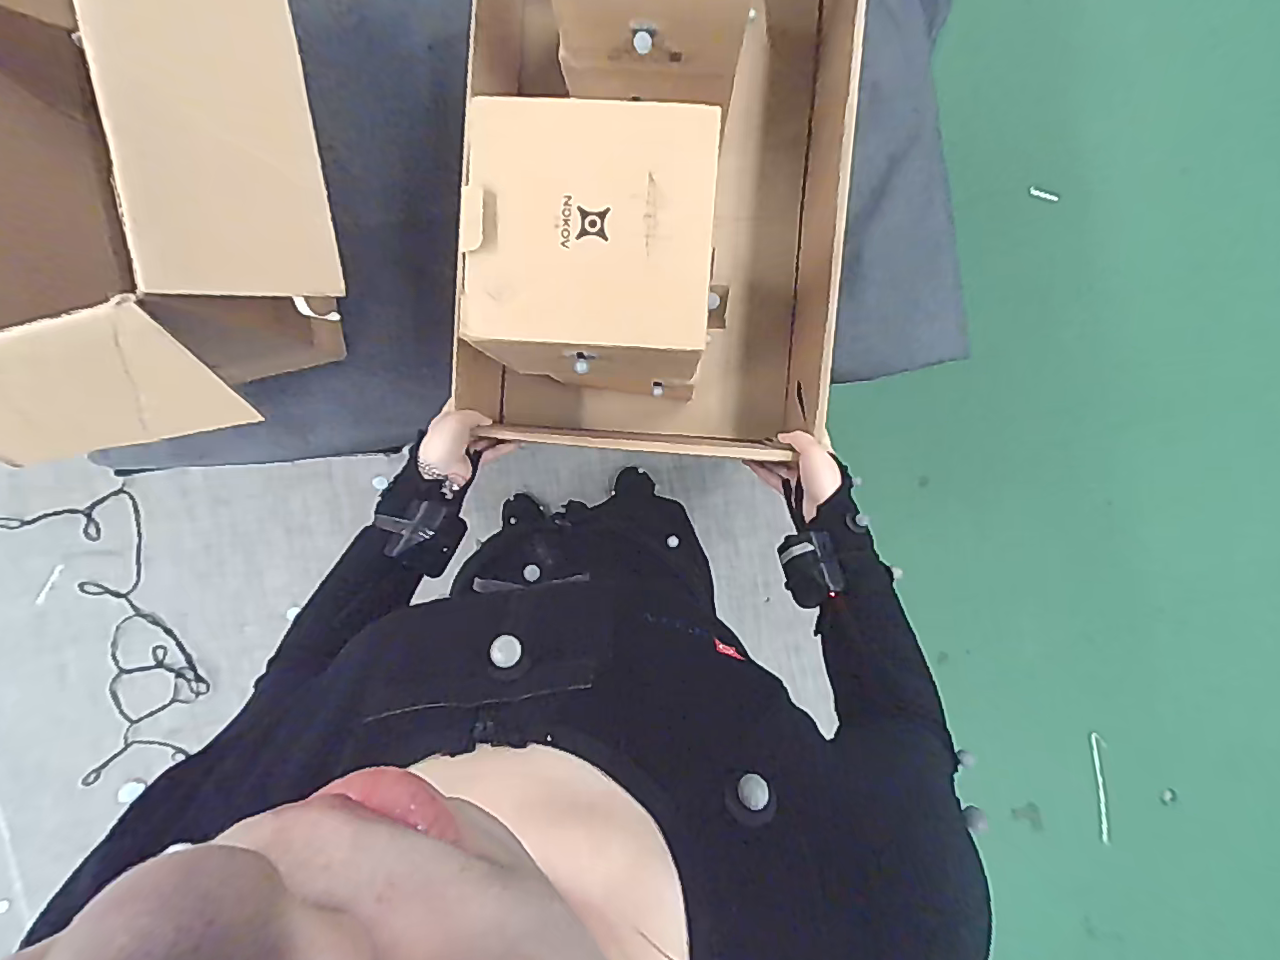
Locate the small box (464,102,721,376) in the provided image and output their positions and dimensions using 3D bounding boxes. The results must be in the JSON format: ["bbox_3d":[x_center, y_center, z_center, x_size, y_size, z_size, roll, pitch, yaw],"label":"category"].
[{"bbox_3d":[-0.033,-0.182,0.459,0.179,0.176,0.168,3,95,1],"label":"small box"}]

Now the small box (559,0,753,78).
[{"bbox_3d":[0.015,-0.471,0.432,0.168,0.176,0.179,4,96,1],"label":"small box"}]

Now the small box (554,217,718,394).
[{"bbox_3d":[-0.015,-0.195,0.620,0.179,0.176,0.168,8,94,2],"label":"small box"}]
